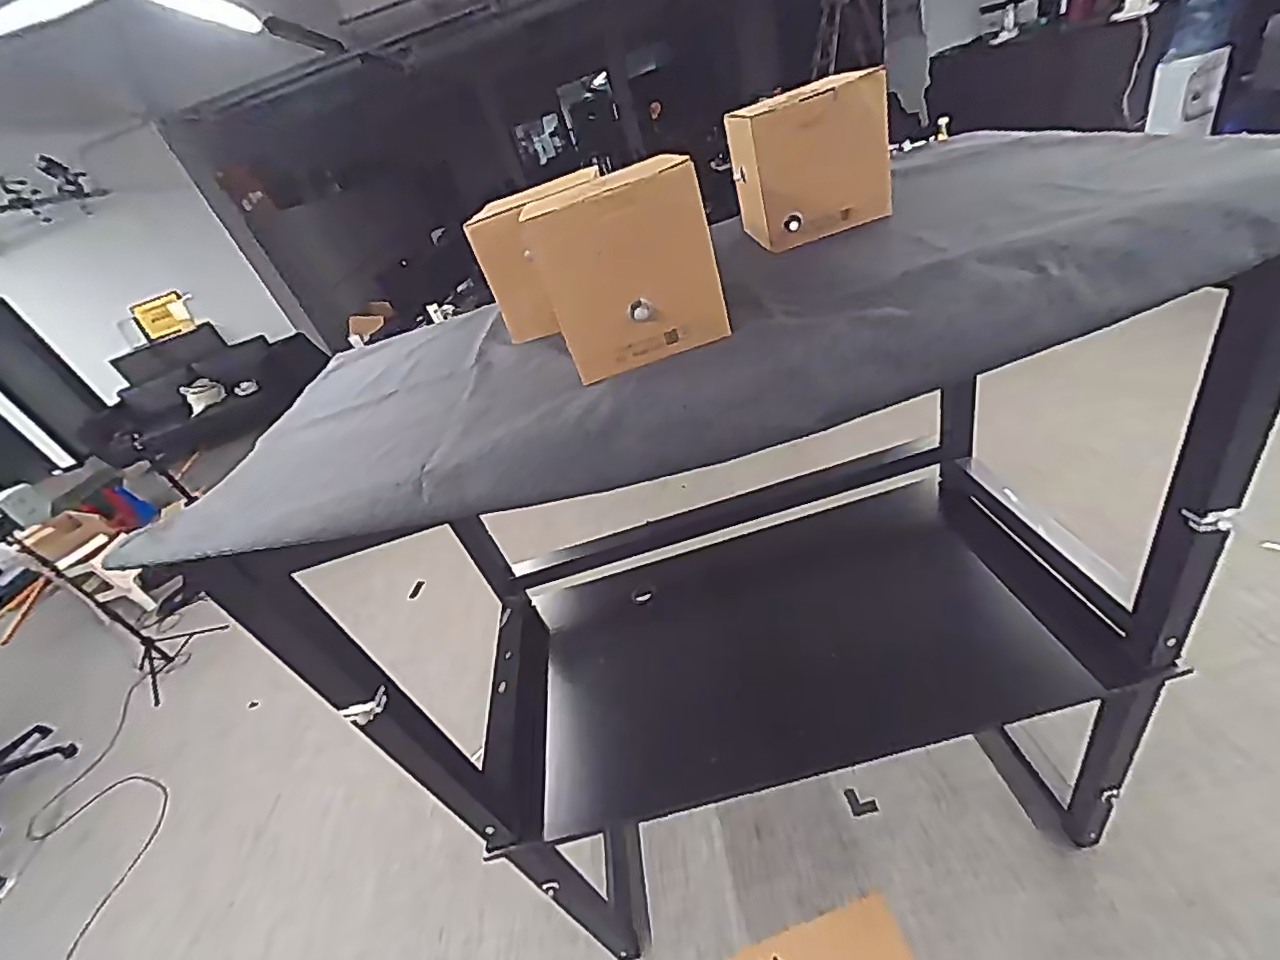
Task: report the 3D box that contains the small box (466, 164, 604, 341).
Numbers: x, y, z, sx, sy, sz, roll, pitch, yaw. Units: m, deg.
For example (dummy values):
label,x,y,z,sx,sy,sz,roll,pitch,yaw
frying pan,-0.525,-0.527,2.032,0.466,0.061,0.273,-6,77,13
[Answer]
label,x,y,z,sx,sy,sz,roll,pitch,yaw
small box,-0.114,-0.323,0.771,0.179,0.176,0.168,-15,34,9

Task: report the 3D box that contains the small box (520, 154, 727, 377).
label,x,y,z,sx,sy,sz,roll,pitch,yaw
small box,-0.016,-0.235,0.591,0.168,0.176,0.179,-18,33,3

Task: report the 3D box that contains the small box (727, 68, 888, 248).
label,x,y,z,sx,sy,sz,roll,pitch,yaw
small box,0.232,-0.443,0.757,0.168,0.176,0.179,-16,33,7
